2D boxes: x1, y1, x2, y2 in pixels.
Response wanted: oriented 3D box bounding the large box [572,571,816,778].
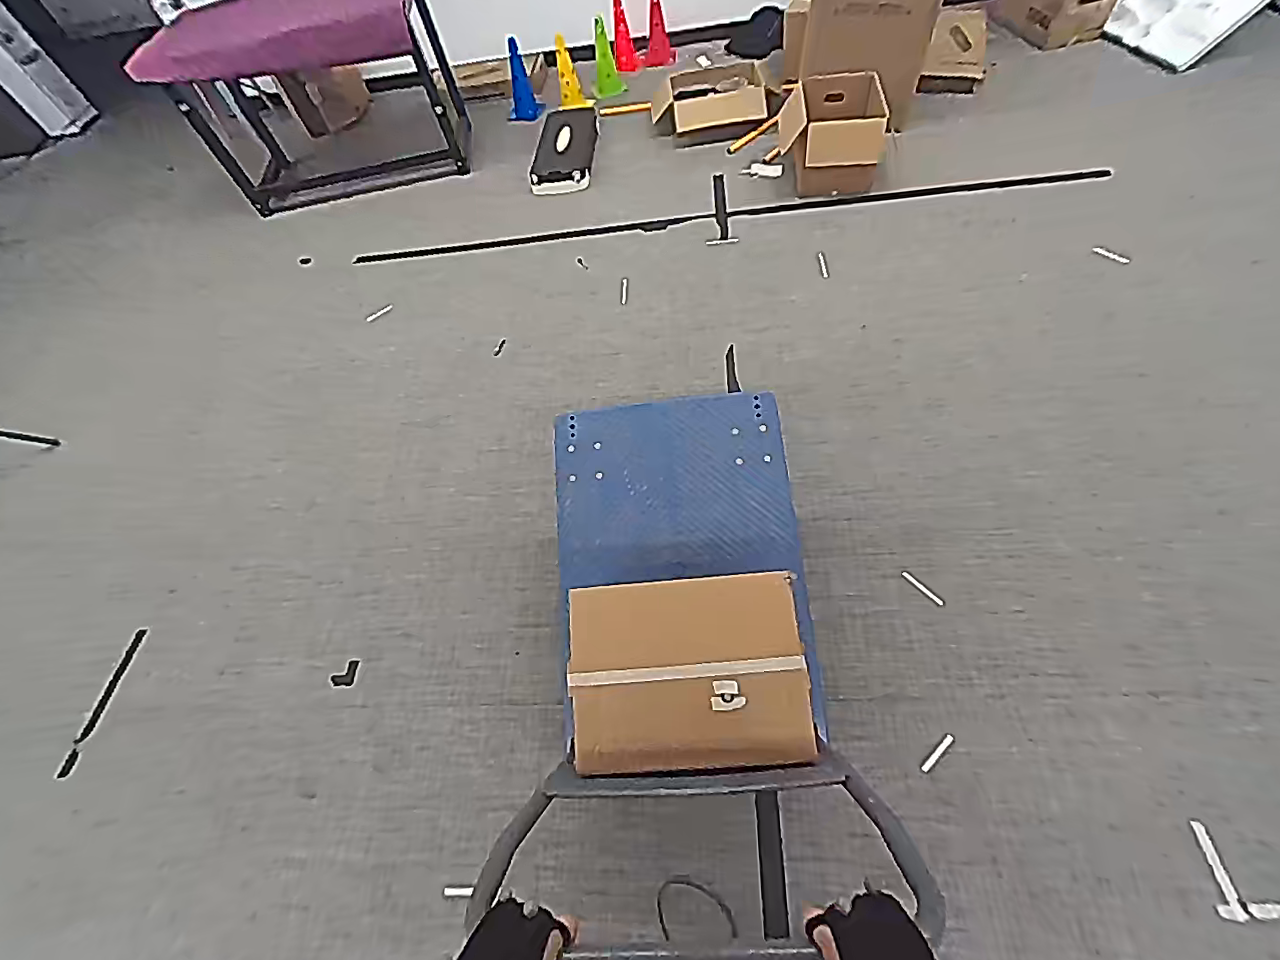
[{"bbox_3d":[0.096,0.379,1.096,0.408,0.320,0.320,-7,74,3],"label":"large box"}]
